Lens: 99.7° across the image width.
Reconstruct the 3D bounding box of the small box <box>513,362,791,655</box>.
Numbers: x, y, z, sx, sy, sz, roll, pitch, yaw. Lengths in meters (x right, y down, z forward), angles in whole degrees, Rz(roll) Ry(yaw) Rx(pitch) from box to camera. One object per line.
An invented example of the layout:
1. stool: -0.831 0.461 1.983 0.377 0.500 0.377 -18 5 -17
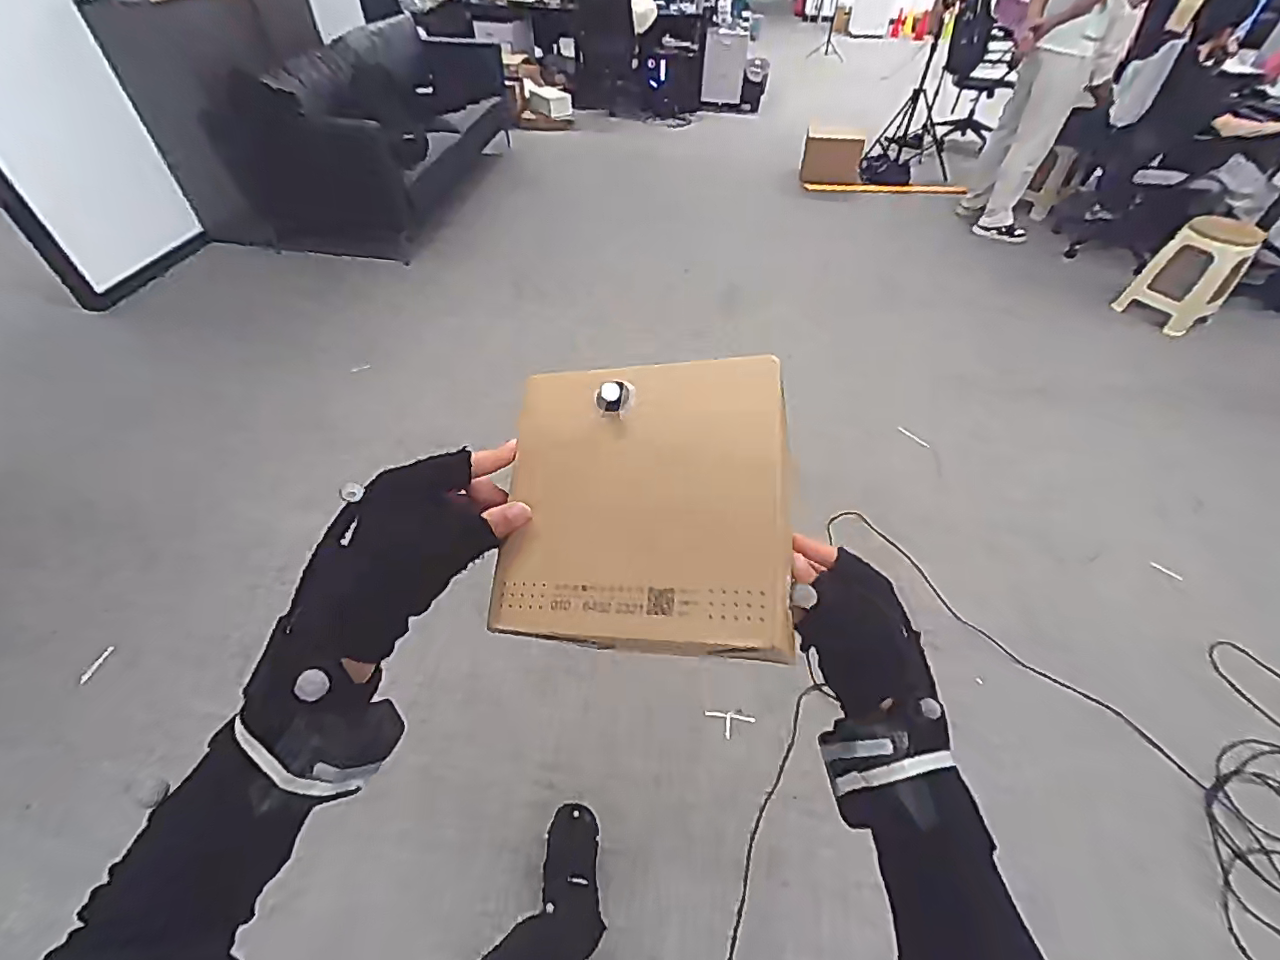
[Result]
1. small box: 0.023 0.035 0.399 0.168 0.179 0.176 -1 70 17
